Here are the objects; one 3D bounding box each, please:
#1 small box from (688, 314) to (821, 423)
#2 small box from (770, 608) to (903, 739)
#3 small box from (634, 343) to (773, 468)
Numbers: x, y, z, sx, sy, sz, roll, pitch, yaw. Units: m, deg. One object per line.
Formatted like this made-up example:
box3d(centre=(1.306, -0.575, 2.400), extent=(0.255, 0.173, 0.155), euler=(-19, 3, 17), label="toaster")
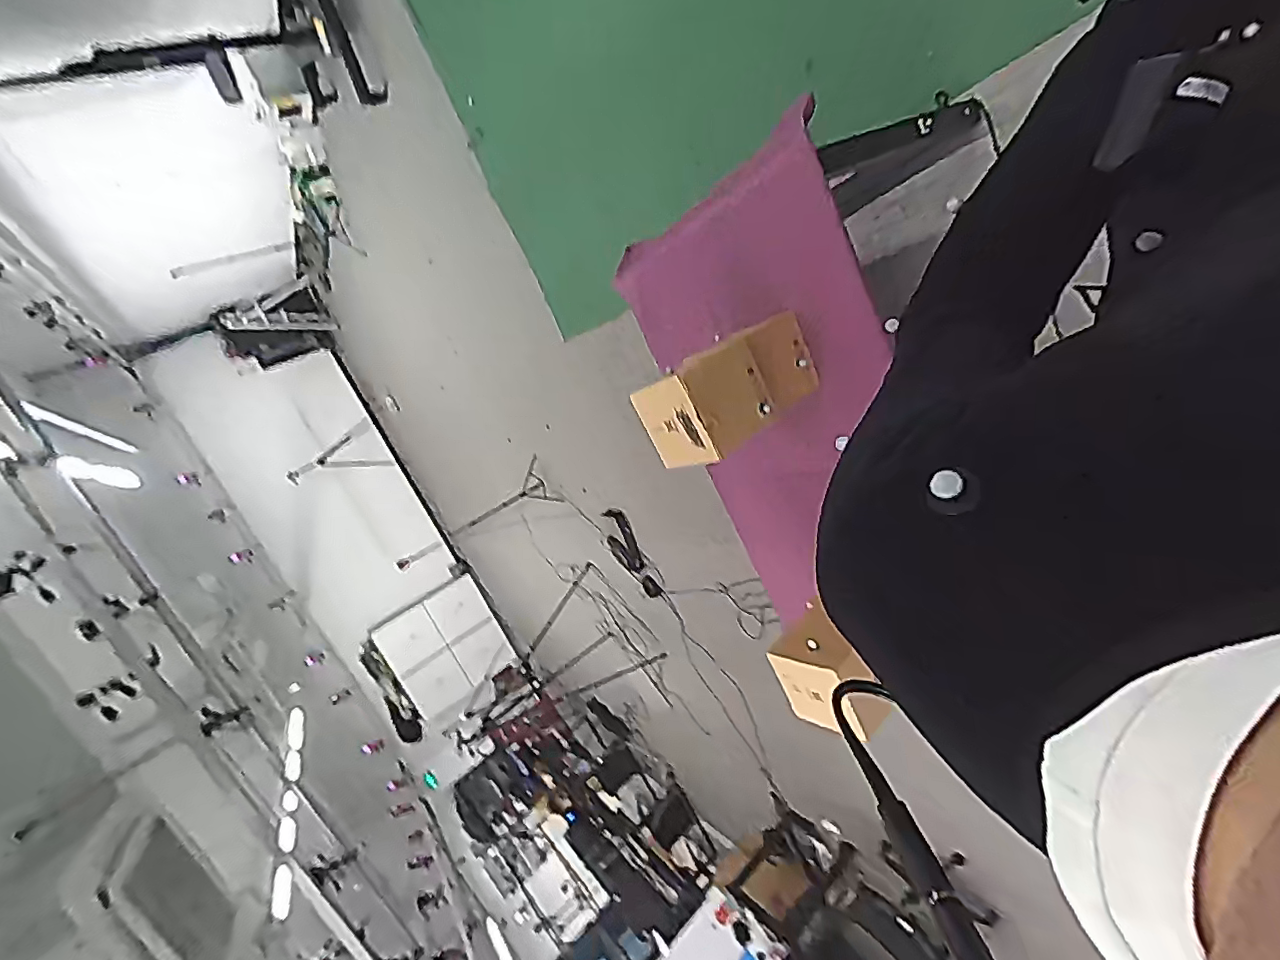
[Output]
box3d(centre=(0.236, -0.218, 1.115), extent=(0.179, 0.176, 0.168), euler=(-4, 116, 59), label="small box")
box3d(centre=(0.406, 0.380, 1.100), extent=(0.179, 0.176, 0.168), euler=(-9, 110, 59), label="small box")
box3d(centre=(0.125, -0.139, 1.022), extent=(0.179, 0.176, 0.168), euler=(-6, 114, 61), label="small box")
